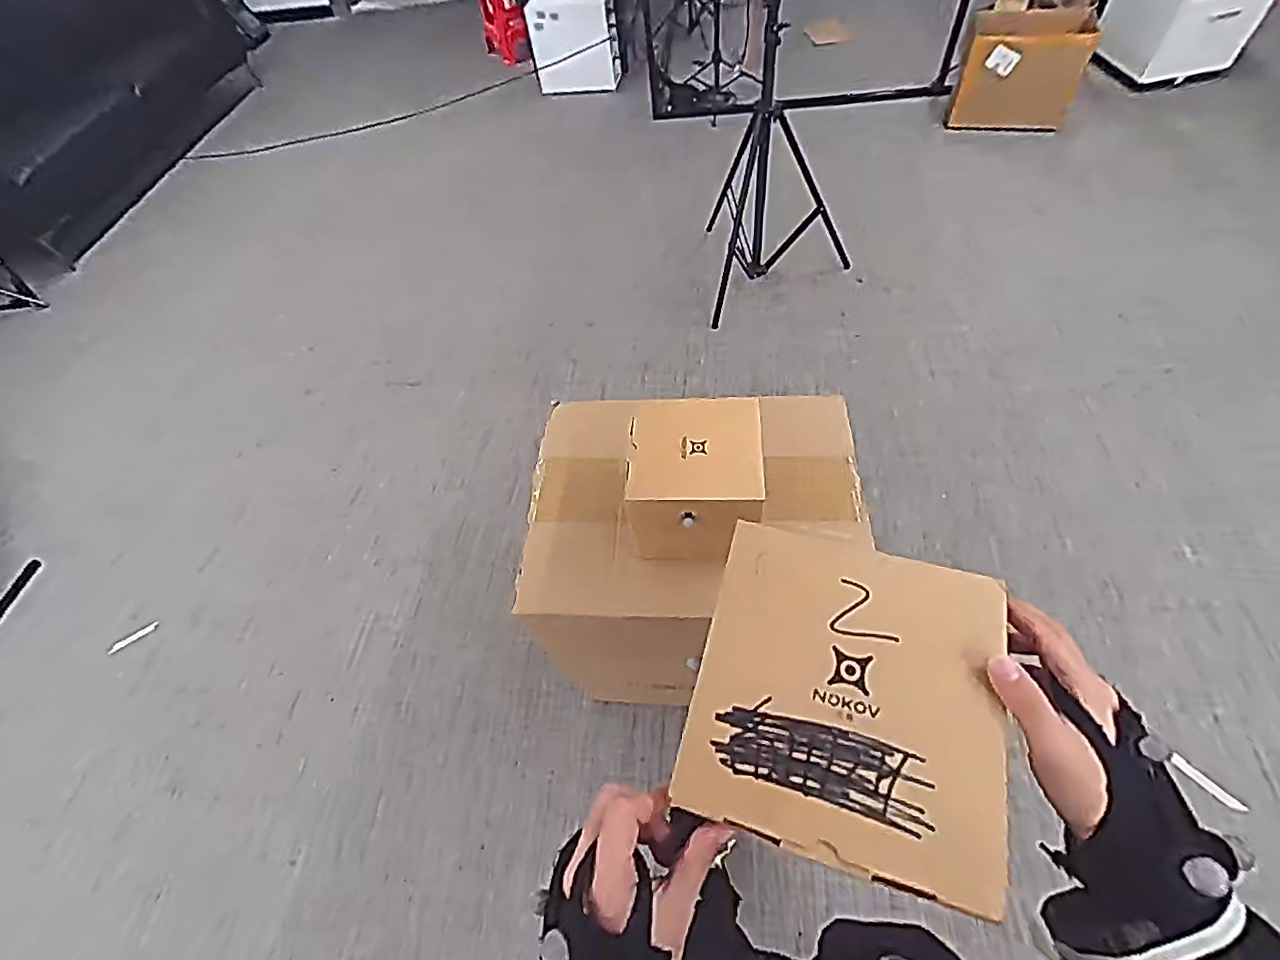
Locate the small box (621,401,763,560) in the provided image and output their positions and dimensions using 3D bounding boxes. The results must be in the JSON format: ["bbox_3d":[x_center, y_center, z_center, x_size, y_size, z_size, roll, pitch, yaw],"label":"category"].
[{"bbox_3d":[0.077,0.005,0.771,0.179,0.176,0.168,-1,57,8],"label":"small box"}]
